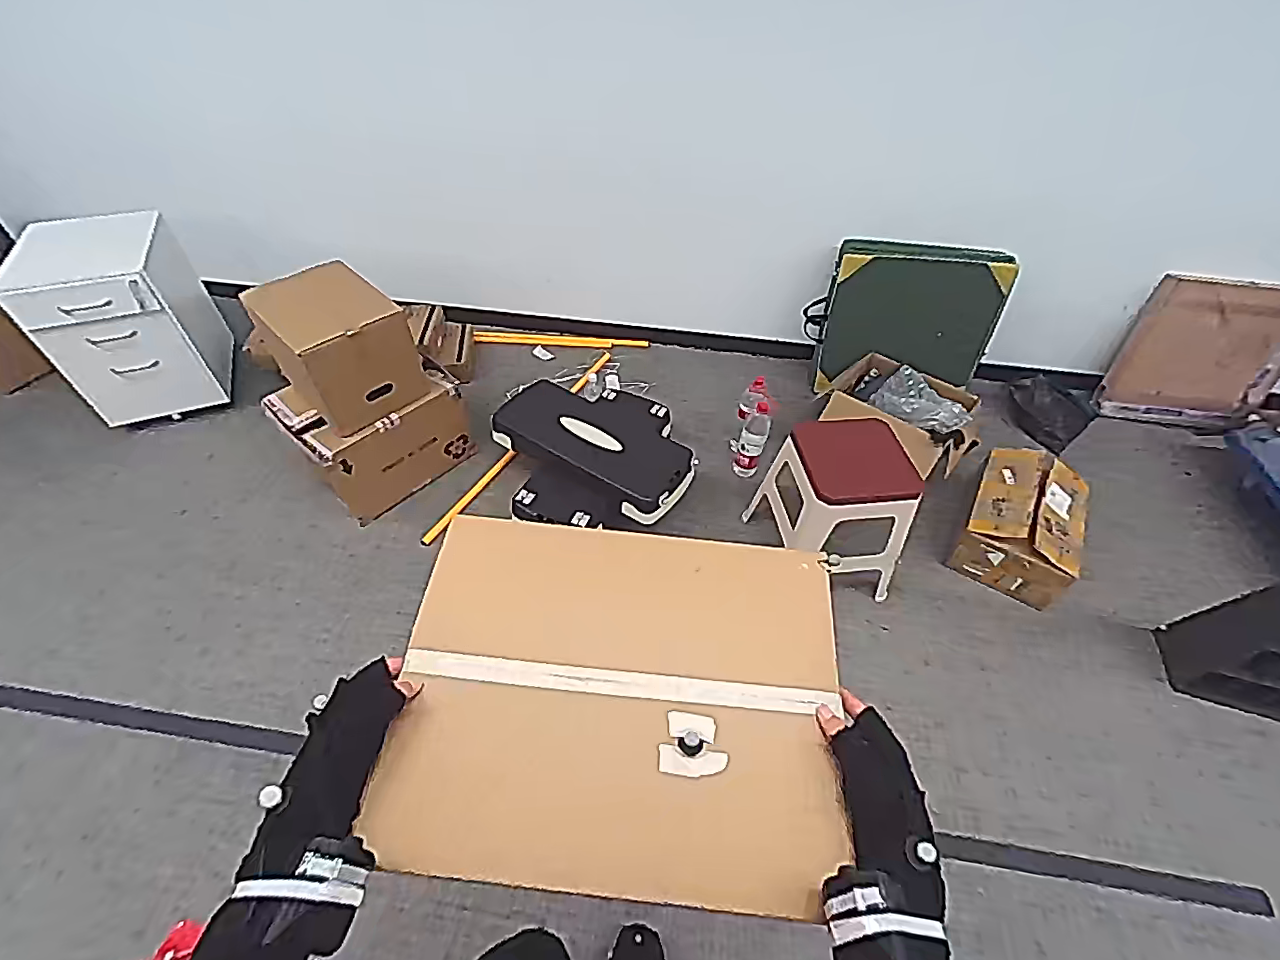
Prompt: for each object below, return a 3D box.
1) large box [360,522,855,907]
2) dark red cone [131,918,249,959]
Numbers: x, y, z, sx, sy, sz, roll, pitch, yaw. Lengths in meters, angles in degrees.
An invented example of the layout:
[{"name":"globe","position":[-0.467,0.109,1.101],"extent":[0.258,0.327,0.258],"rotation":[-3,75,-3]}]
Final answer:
[{"name":"large box","position":[-0.022,0.272,0.631],"extent":[0.408,0.320,0.320],"rotation":[6,57,1]},{"name":"dark red cone","position":[-0.876,0.865,0.903],"extent":[0.201,0.394,0.202],"rotation":[13,49,8]}]
